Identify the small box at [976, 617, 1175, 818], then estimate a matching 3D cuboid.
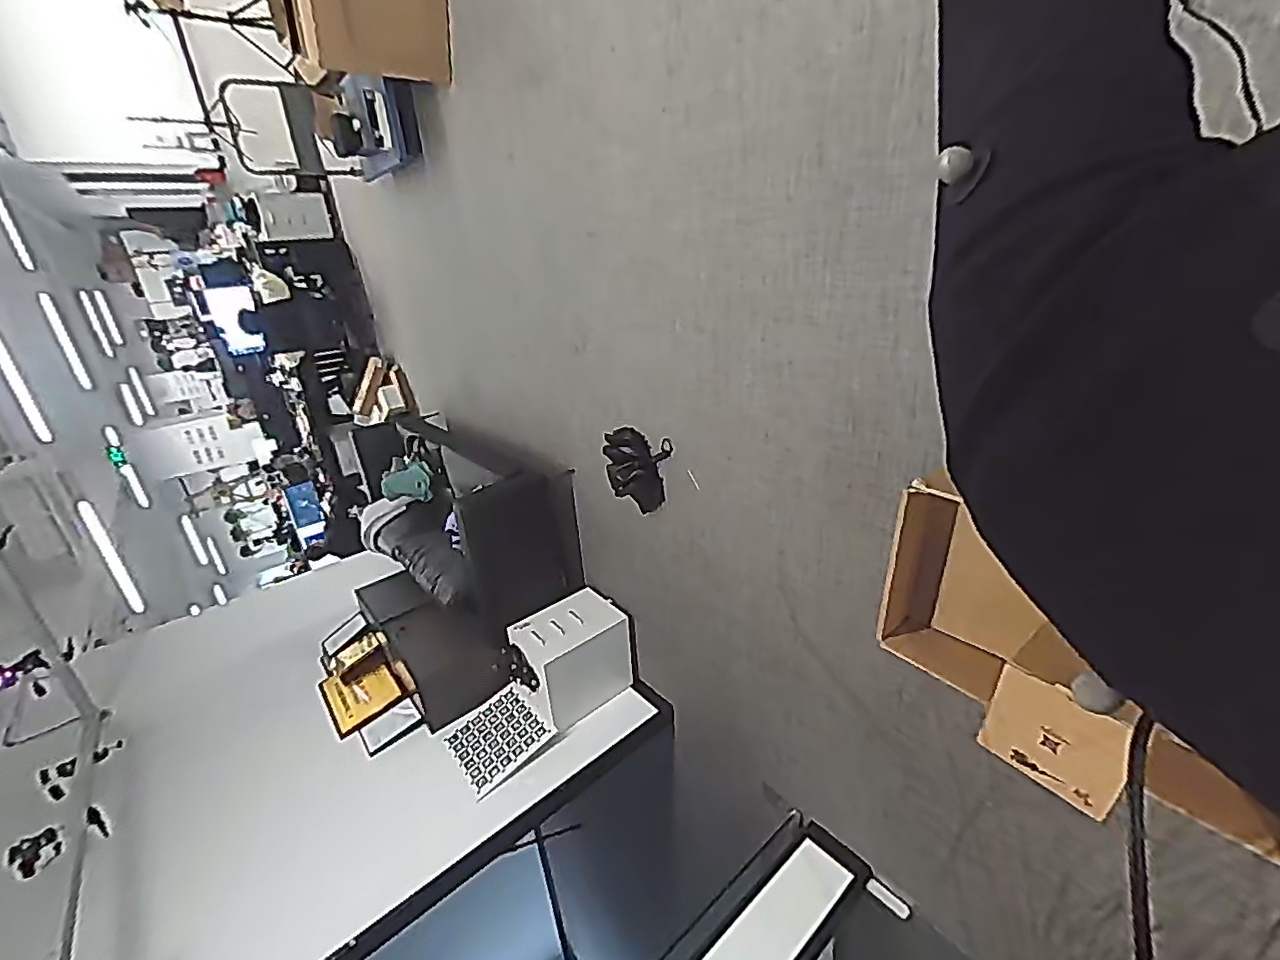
[{"bbox_3d":[0.640,0.335,0.799,0.168,0.176,0.179,30,130,46],"label":"small box"}]
